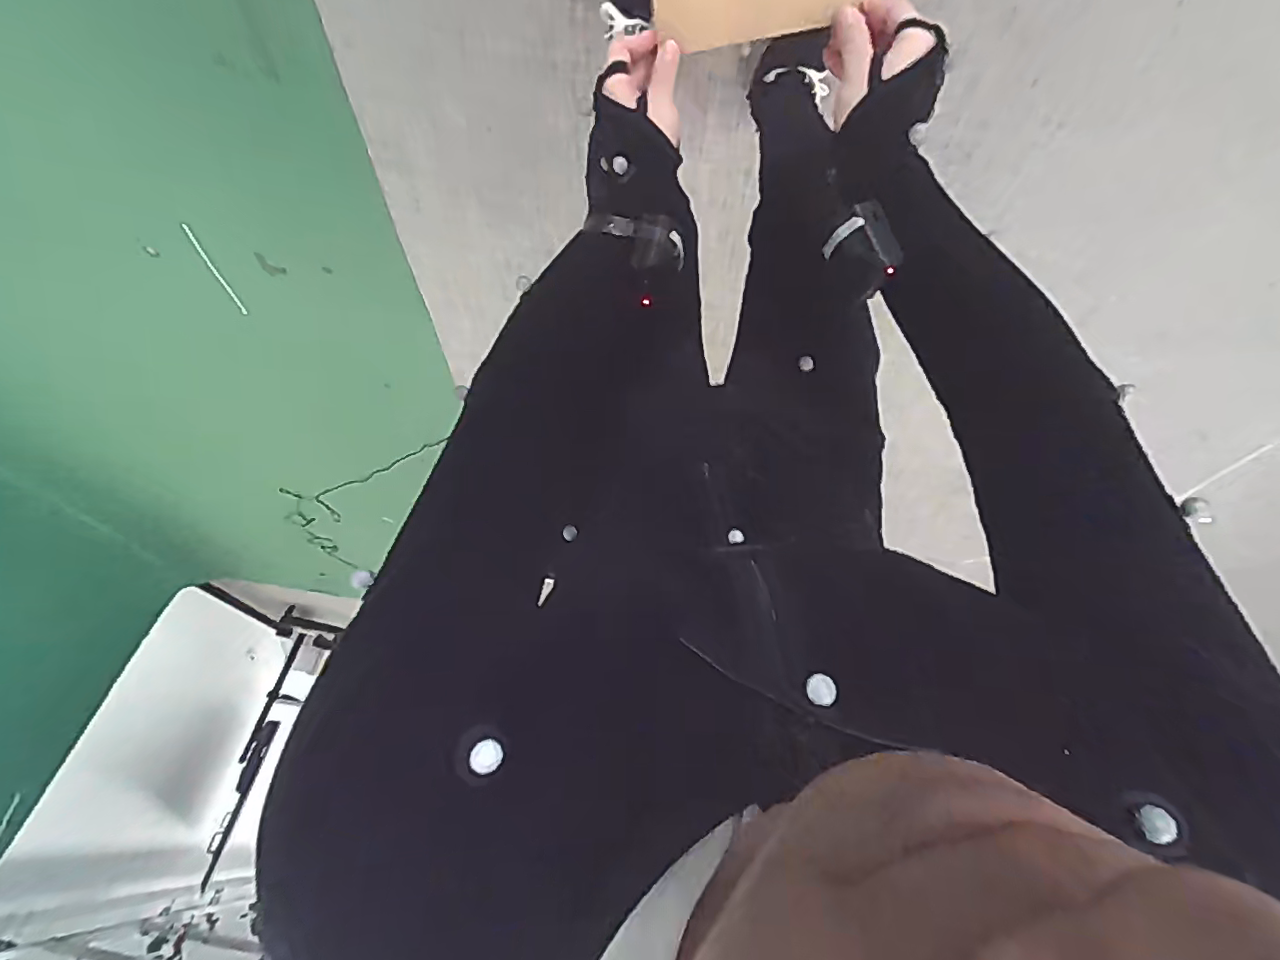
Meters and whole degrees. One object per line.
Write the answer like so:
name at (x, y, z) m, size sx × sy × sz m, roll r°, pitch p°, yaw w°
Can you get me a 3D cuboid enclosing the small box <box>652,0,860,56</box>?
small box at (0.104, -0.501, 0.478) m, size 0.179 × 0.176 × 0.168 m, roll 1°, pitch 134°, yaw 15°
